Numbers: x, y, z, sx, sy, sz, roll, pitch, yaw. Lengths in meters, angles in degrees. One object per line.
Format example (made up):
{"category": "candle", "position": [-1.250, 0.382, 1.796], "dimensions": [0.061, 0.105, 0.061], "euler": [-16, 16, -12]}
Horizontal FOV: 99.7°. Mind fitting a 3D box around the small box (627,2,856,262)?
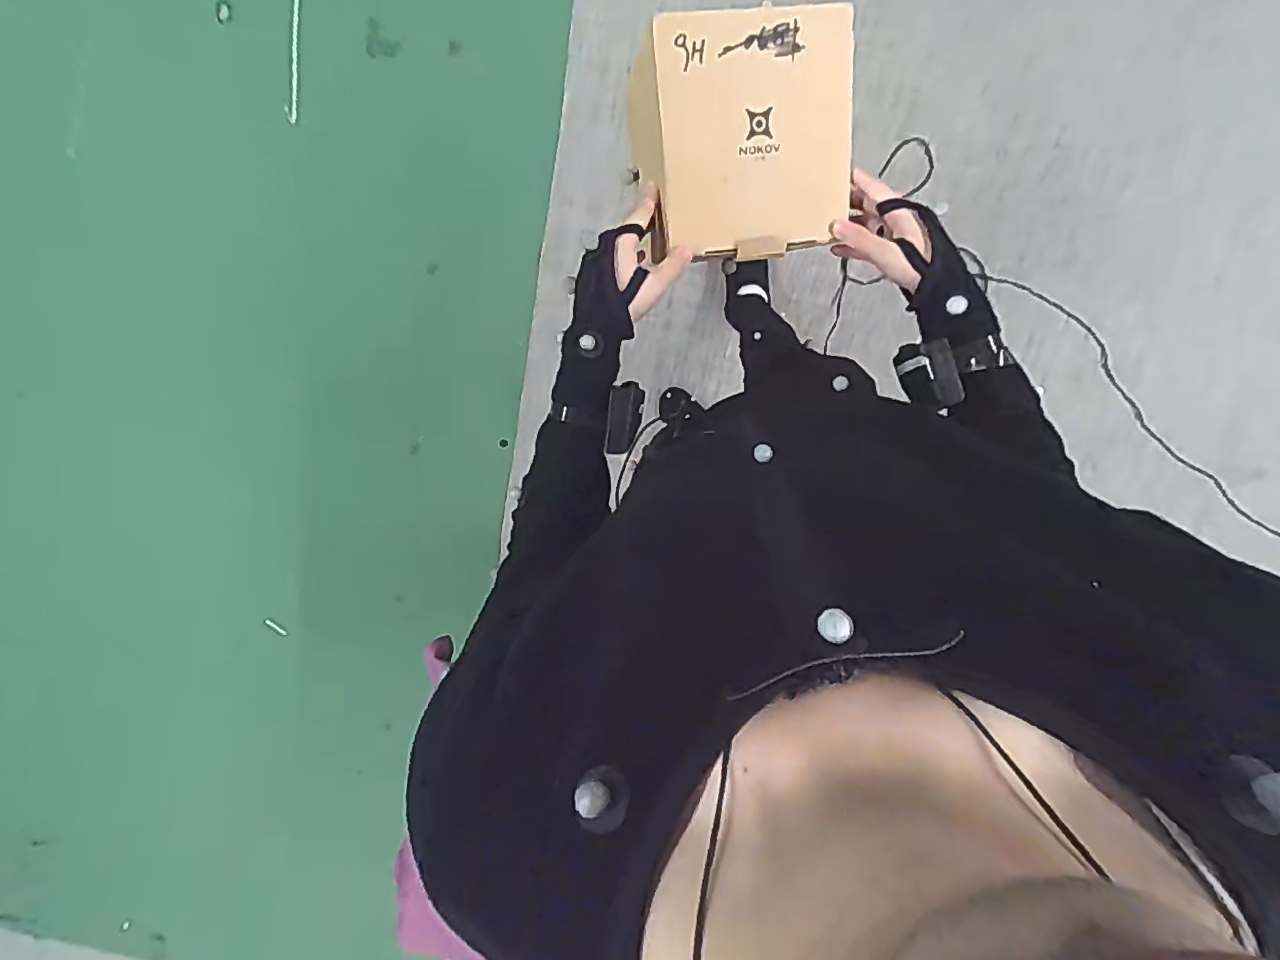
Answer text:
{"category": "small box", "position": [0.085, -0.310, 0.519], "dimensions": [0.168, 0.176, 0.179], "euler": [-9, 110, -7]}
